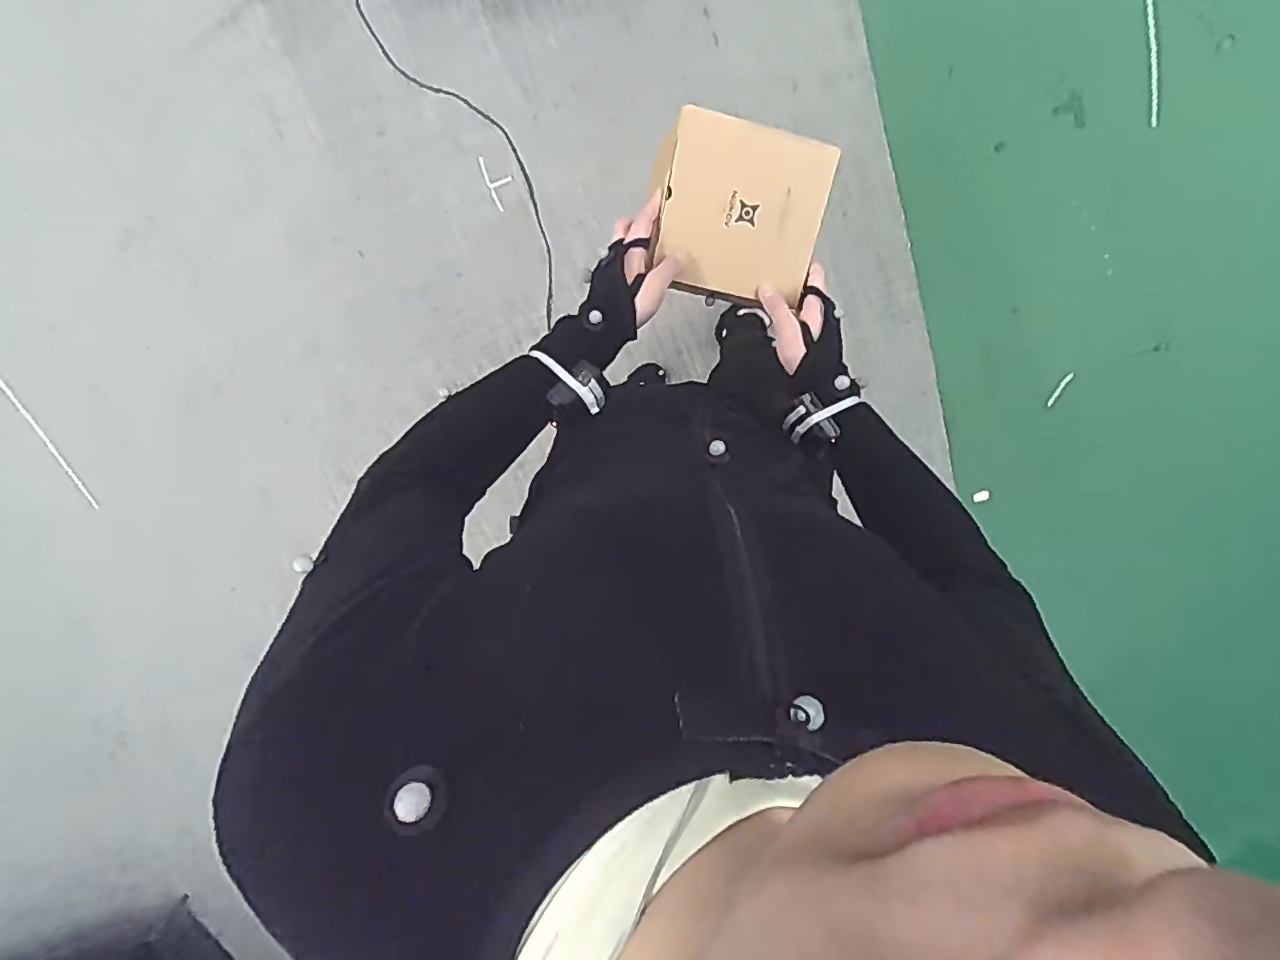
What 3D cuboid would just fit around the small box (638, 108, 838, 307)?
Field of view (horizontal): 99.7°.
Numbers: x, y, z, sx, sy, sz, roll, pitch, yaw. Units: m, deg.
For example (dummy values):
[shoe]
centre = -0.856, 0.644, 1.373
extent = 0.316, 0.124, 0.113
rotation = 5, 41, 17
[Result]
[small box]
centre = 0.101, -0.308, 0.652
extent = 0.179, 0.176, 0.168
rotation = 9, 107, -10
